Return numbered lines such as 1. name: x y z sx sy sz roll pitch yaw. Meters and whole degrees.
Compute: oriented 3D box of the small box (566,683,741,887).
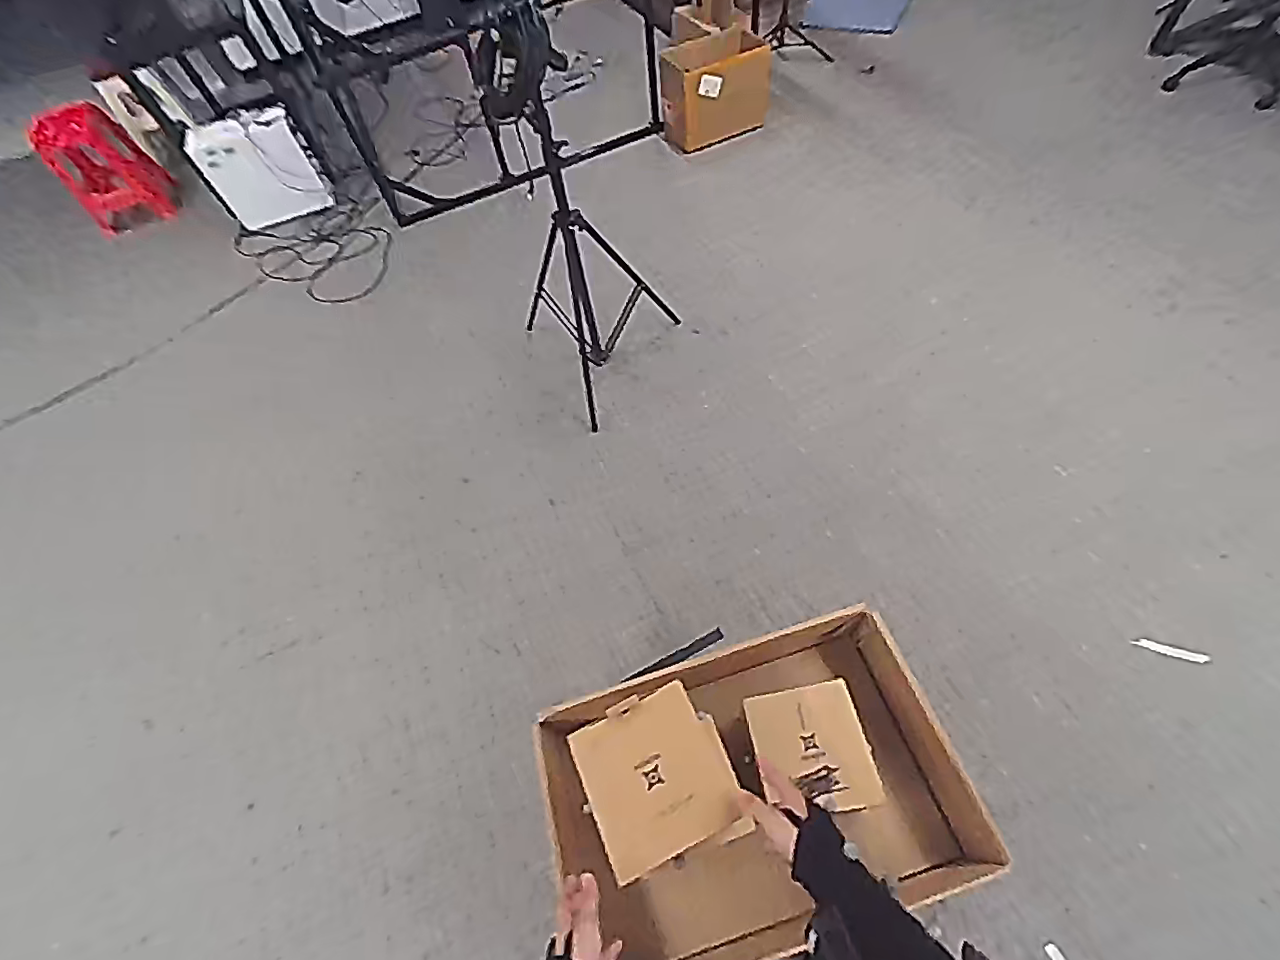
1. small box: 0.018 0.408 0.729 0.168 0.176 0.179 -25 58 -9
